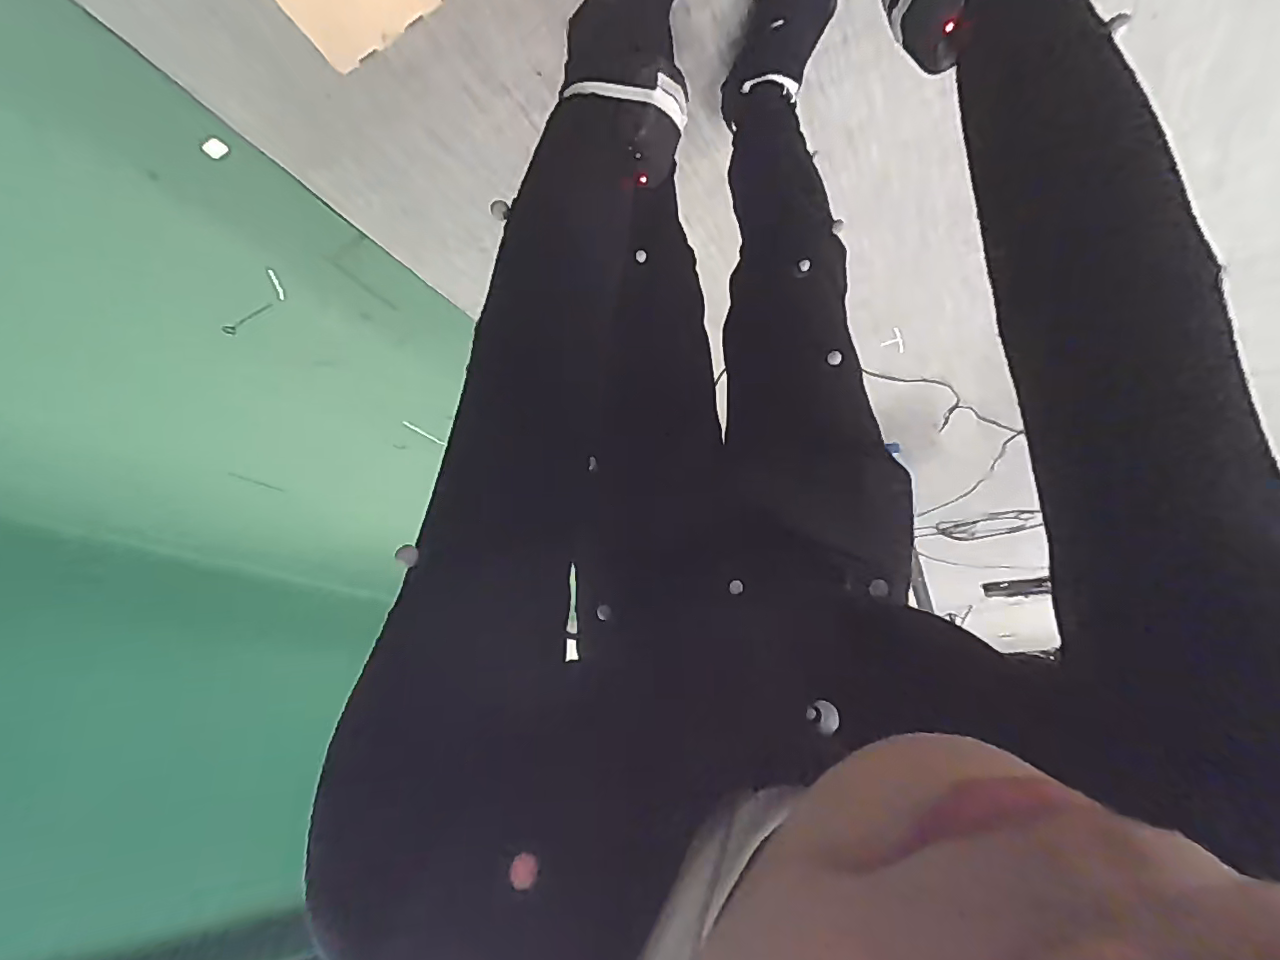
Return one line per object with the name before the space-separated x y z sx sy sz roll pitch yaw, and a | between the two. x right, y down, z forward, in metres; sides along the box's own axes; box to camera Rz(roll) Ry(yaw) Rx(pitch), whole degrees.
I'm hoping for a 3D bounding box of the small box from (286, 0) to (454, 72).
small box | -0.313 -0.611 0.584 0.168 0.176 0.179 -12 153 24
